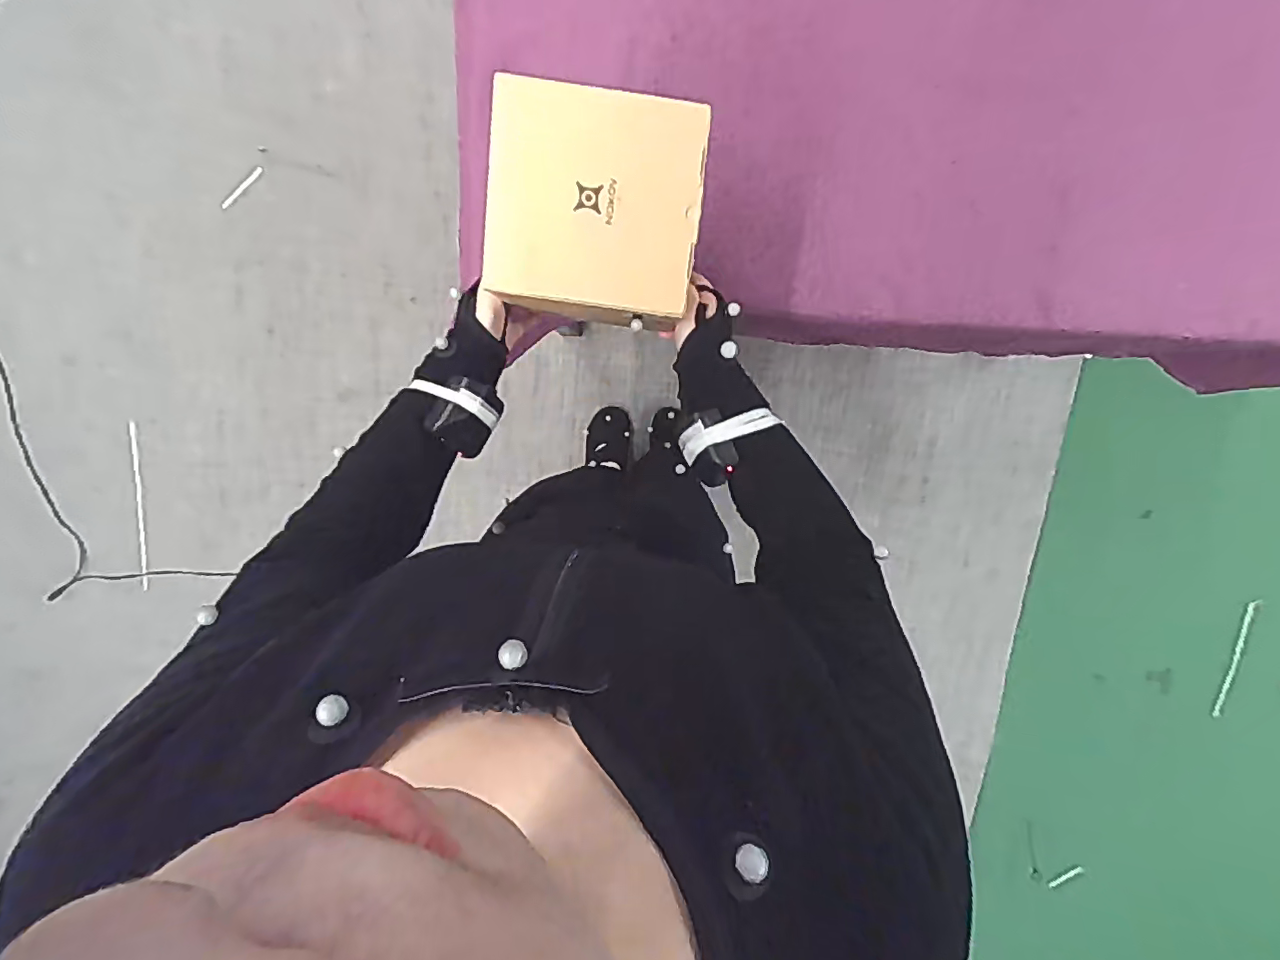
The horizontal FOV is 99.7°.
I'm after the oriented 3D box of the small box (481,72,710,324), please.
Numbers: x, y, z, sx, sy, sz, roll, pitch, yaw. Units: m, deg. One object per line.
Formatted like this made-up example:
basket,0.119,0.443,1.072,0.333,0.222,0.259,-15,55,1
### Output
small box,-0.040,-0.250,0.525,0.179,0.176,0.168,6,100,-2
